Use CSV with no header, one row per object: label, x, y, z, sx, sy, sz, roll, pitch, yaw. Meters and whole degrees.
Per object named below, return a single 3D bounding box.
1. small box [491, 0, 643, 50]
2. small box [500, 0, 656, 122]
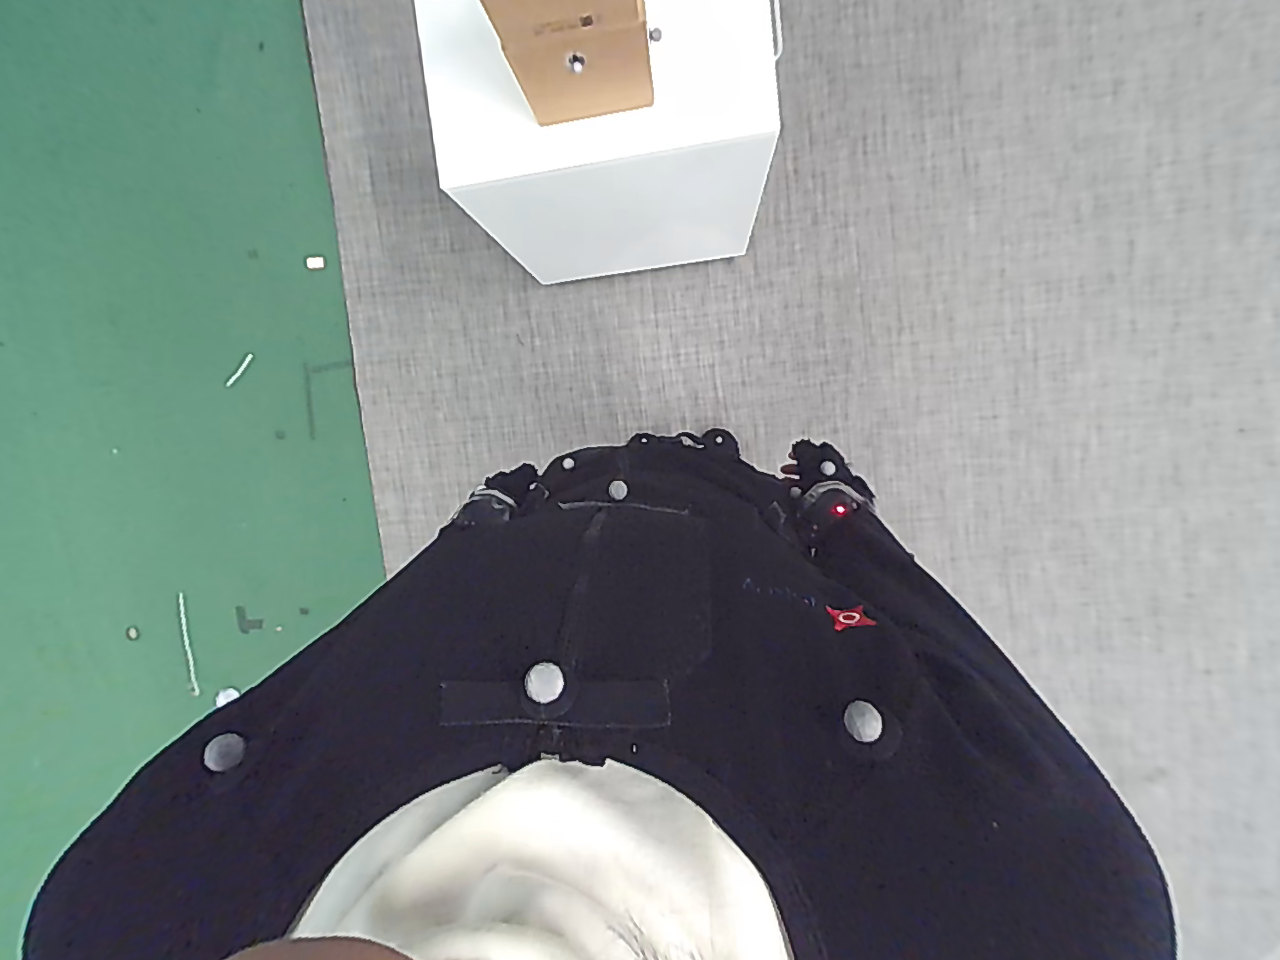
small box,-0.092,-0.594,0.547,0.168,0.176,0.179,-8,95,5
small box,-0.078,-0.605,0.707,0.179,0.176,0.168,-6,95,5
